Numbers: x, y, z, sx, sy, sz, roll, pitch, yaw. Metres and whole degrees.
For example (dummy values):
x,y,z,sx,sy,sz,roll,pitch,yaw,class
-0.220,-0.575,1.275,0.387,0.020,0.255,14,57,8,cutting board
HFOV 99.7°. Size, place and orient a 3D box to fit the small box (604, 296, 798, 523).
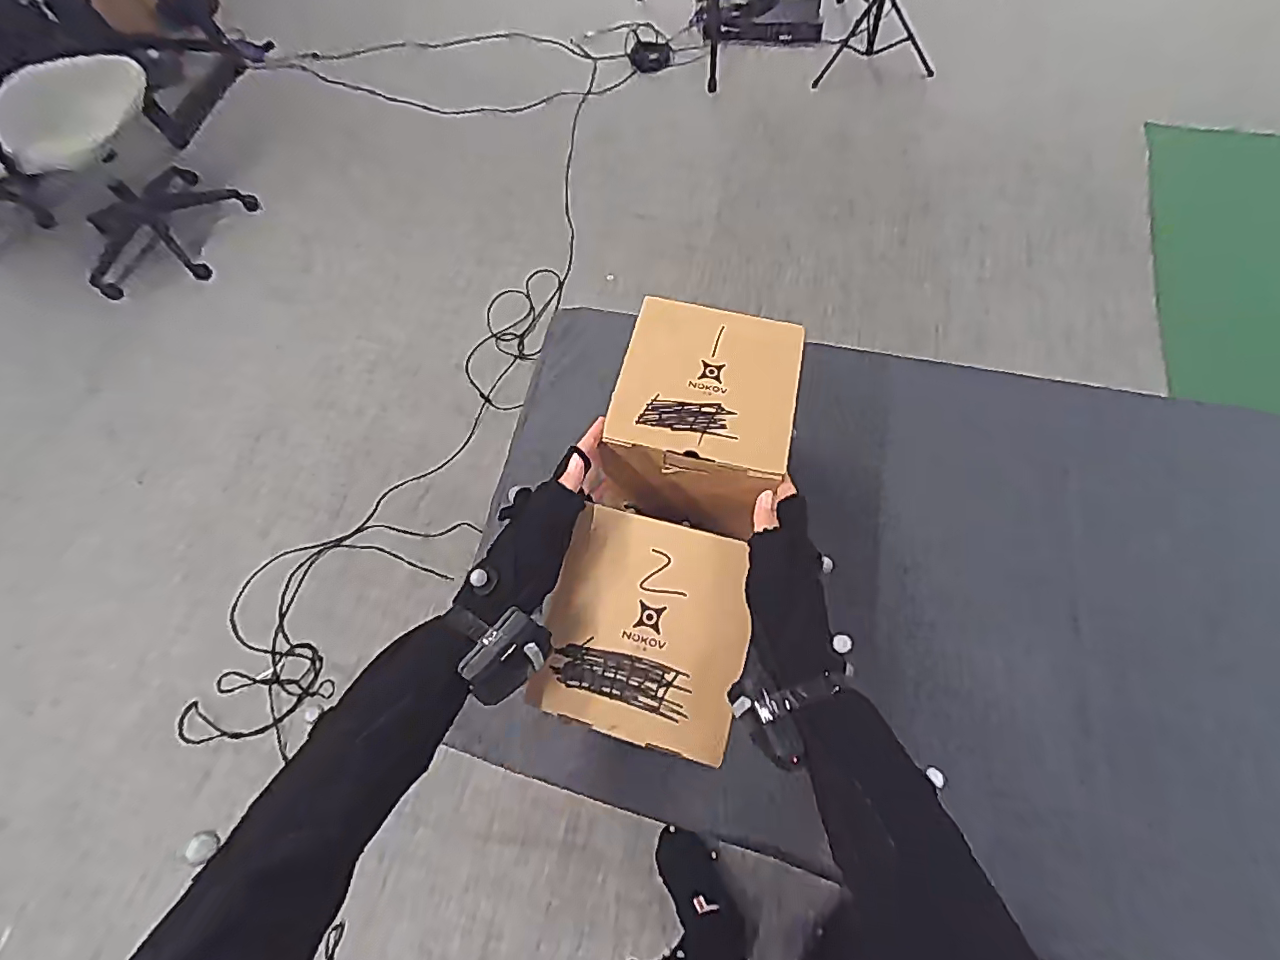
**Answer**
x,y,z,sx,sy,sz,roll,pitch,yaw,class
0.066,-0.067,0.579,0.168,0.176,0.179,8,66,6,small box
